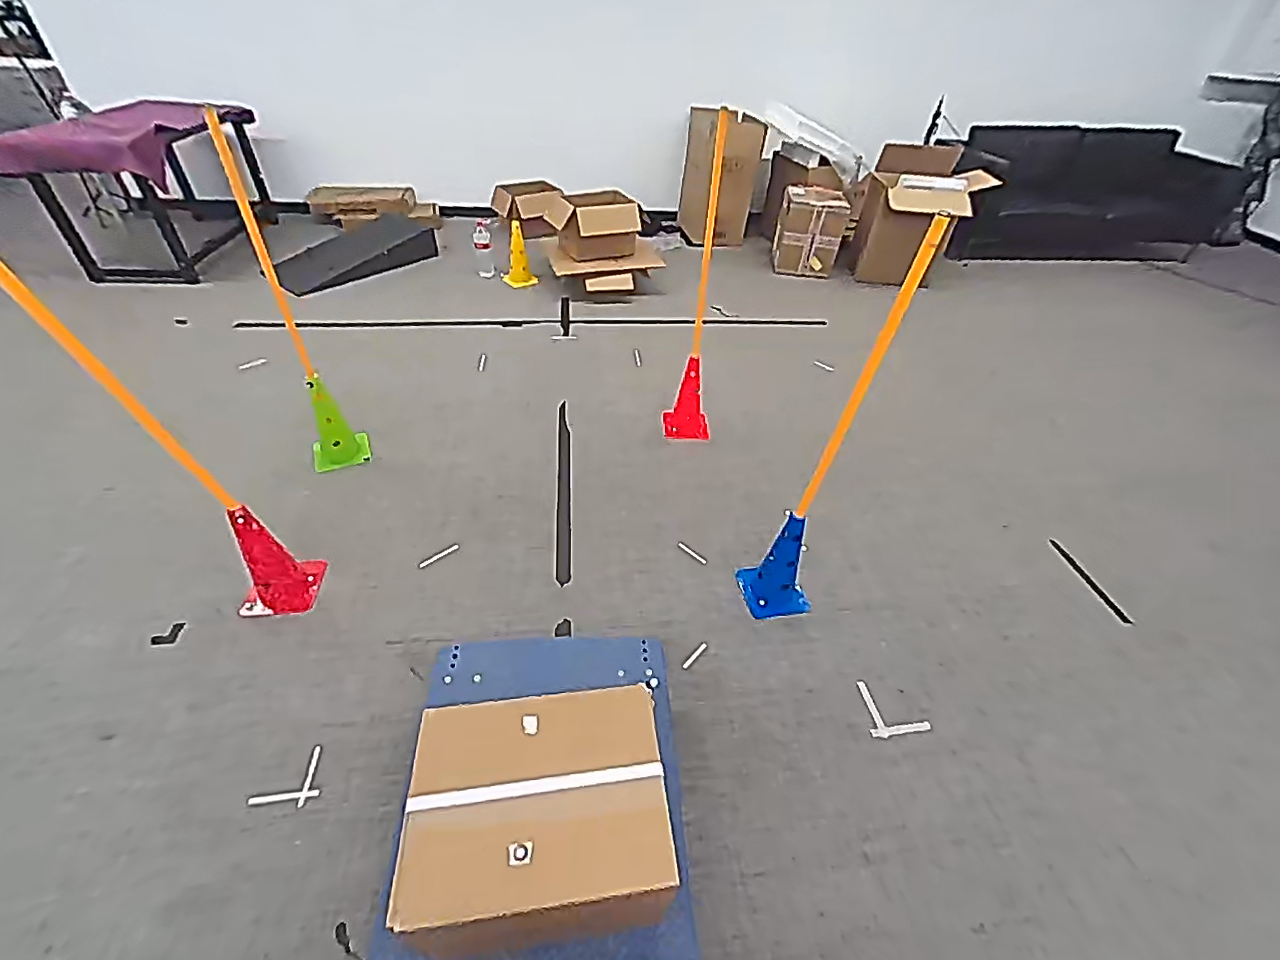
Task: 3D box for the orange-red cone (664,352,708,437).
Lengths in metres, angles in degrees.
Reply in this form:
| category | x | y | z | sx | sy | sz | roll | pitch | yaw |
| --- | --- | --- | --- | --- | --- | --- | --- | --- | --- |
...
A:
| category | x | y | z | sx | sy | sz | roll | pitch | yaw |
| --- | --- | --- | --- | --- | --- | --- | --- | --- | --- |
| orange-red cone | 0.217 | -0.384 | 2.319 | 0.199 | 0.360 | 0.198 | 3 | 43 | -3 |

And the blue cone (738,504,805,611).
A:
| category | x | y | z | sx | sy | sz | roll | pitch | yaw |
| --- | --- | --- | --- | --- | --- | --- | --- | --- | --- |
| blue cone | 0.445 | 0.227 | 1.683 | 0.193 | 0.380 | 0.192 | -5 | 42 | -10 |
